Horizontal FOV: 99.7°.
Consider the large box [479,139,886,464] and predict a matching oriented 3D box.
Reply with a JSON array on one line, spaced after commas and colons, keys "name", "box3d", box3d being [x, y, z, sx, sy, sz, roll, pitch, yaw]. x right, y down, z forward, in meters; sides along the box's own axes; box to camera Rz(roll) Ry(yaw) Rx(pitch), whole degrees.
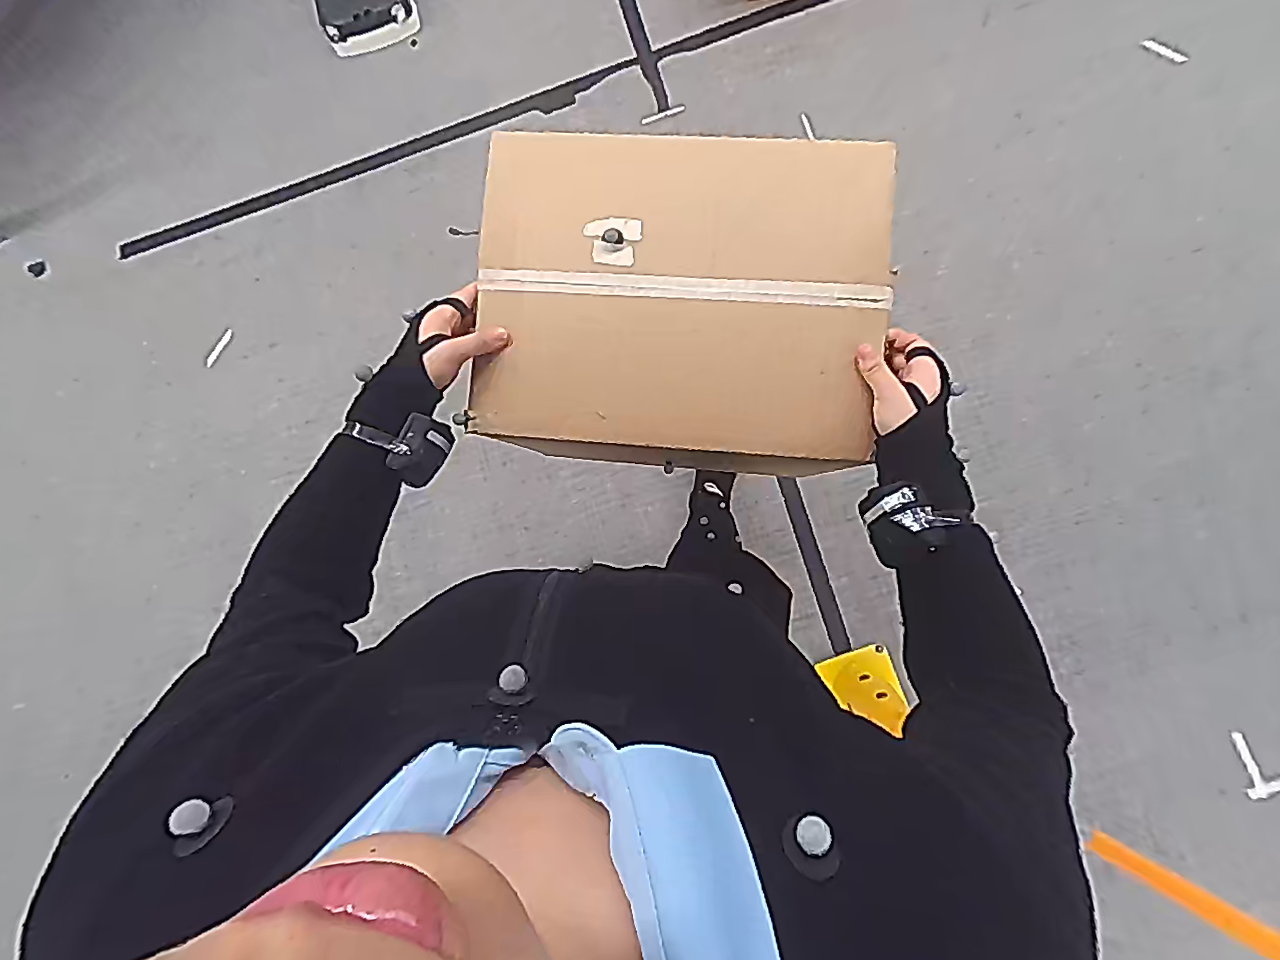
[{"name": "large box", "box3d": [0.054, -0.190, 0.696, 0.408, 0.320, 0.320, 4, 87, 6]}]
